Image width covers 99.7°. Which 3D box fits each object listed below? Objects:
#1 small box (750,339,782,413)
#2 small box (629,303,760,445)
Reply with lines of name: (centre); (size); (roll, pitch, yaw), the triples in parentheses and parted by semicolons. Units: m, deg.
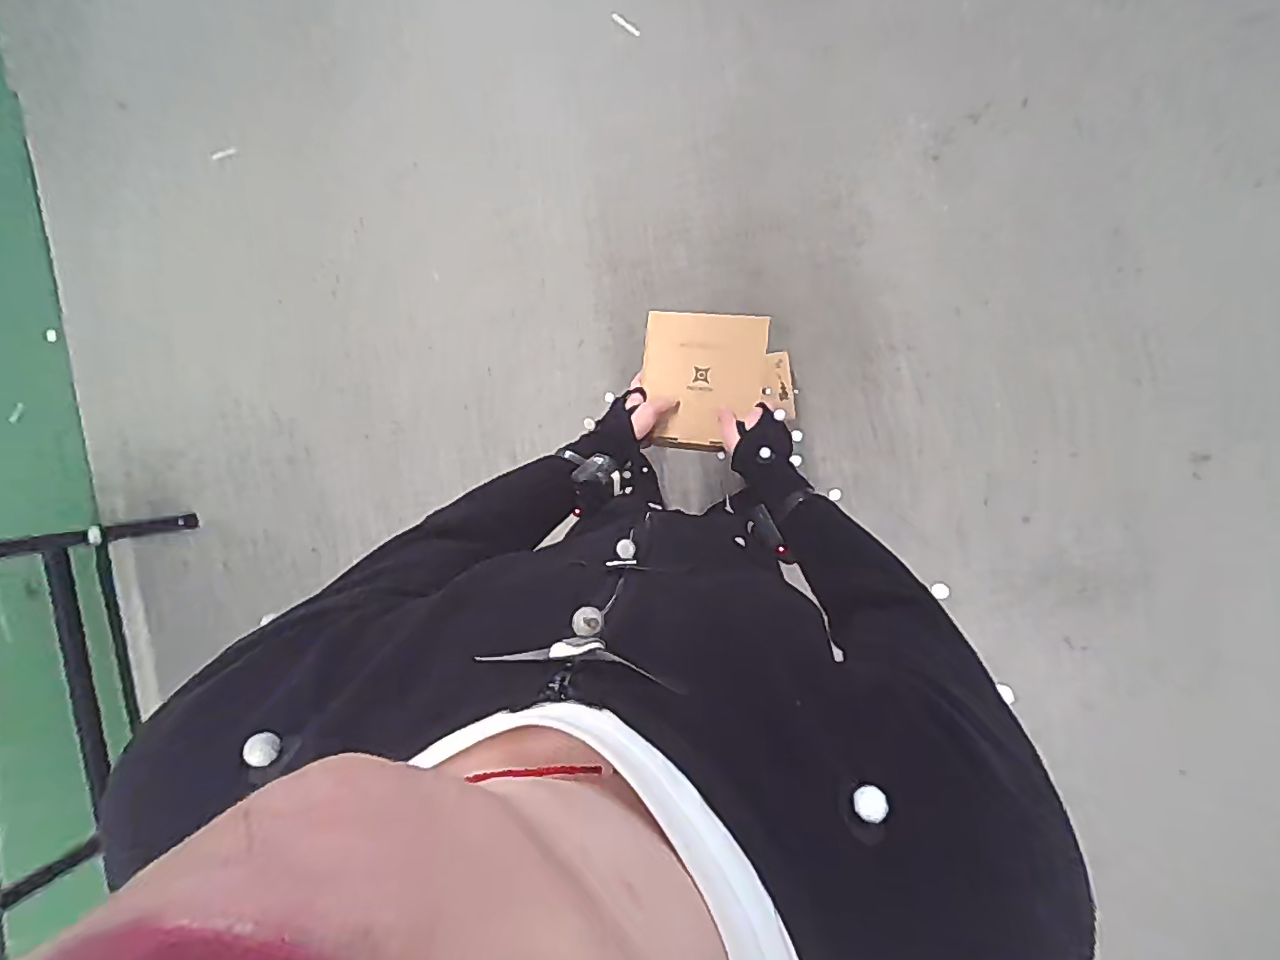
small box: (0.275, -0.262, 1.433); (0.179, 0.176, 0.168); (-9, 92, 11)
small box: (0.085, -0.149, 0.811); (0.168, 0.176, 0.179); (5, 89, 8)
